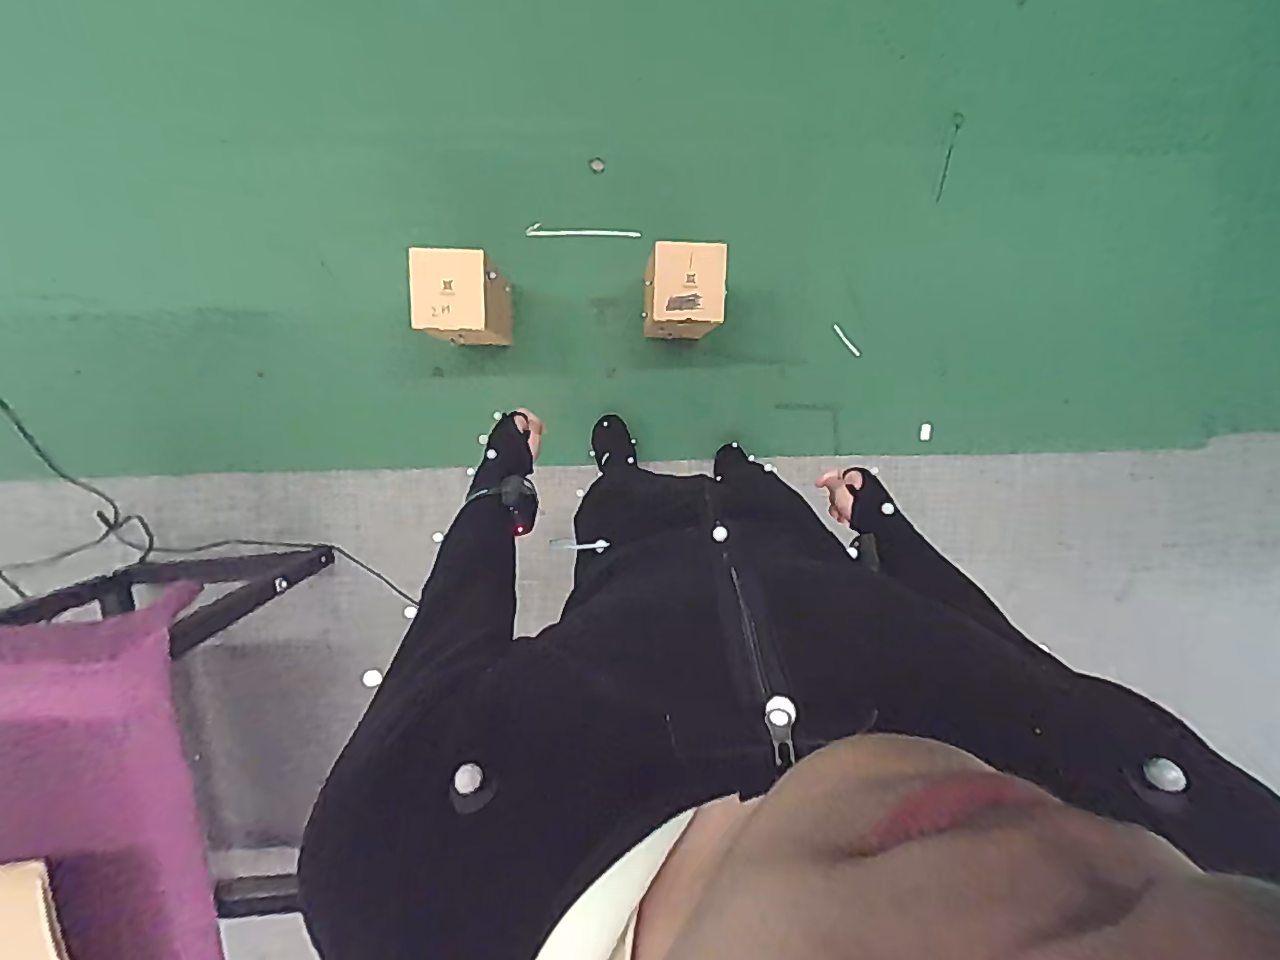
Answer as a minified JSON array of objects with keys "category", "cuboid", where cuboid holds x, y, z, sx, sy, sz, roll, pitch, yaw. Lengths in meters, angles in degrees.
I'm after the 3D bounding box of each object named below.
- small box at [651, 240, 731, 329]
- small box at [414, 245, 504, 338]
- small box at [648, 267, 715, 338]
[{"category":"small box","cuboid":[0.117,-0.462,1.302,0.168,0.176,0.179,1,99,-4]},{"category":"small box","cuboid":[-0.423,-0.439,1.280,0.168,0.176,0.179,1,98,-2]},{"category":"small box","cuboid":[0.109,-0.487,1.464,0.168,0.176,0.179,0,99,-3]}]
